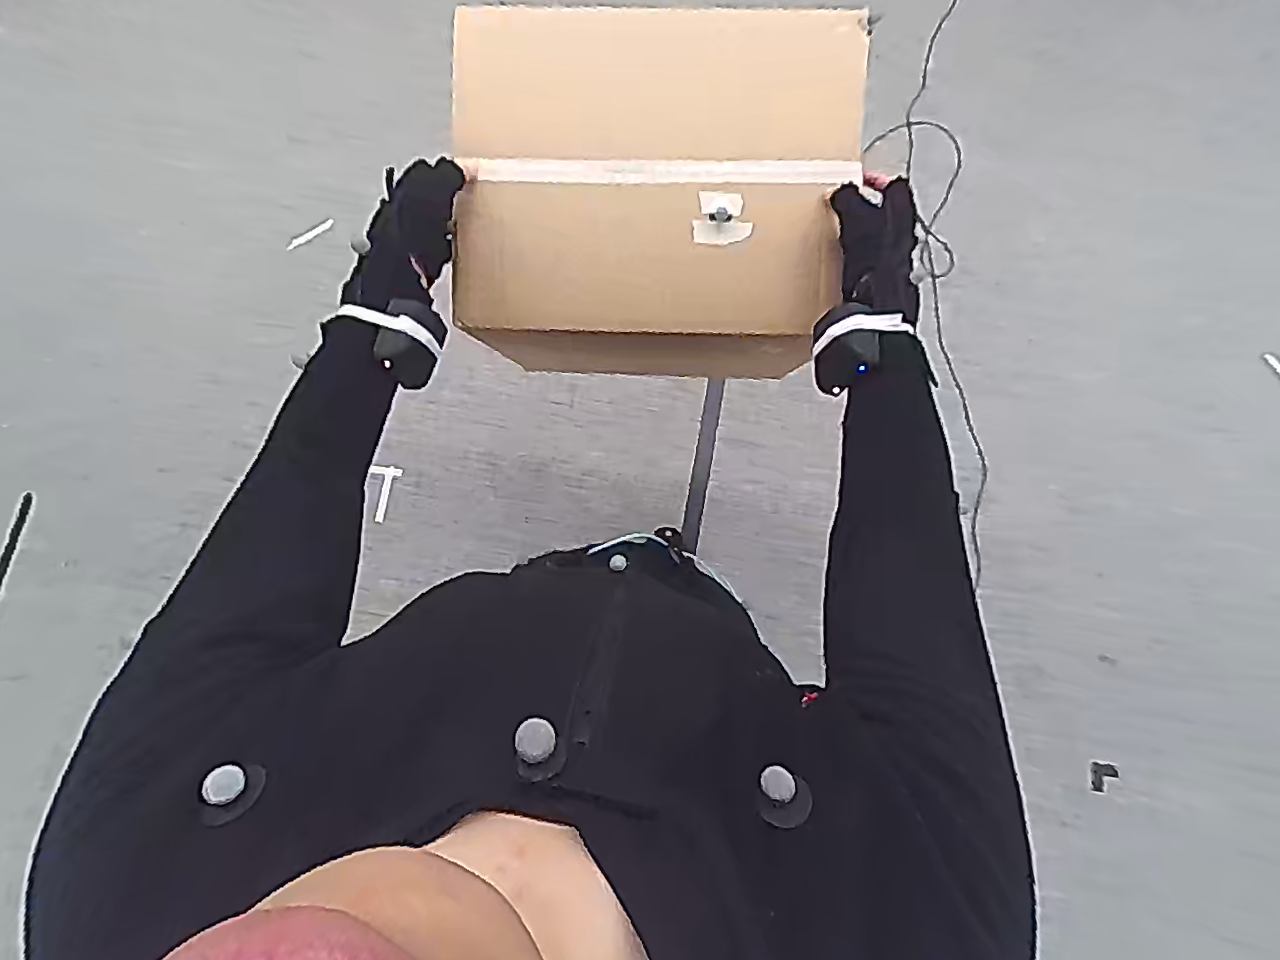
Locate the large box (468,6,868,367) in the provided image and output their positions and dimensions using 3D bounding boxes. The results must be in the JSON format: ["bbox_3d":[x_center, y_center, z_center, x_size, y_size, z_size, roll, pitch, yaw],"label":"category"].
[{"bbox_3d":[0.025,-0.325,0.693,0.408,0.320,0.320,2,94,1],"label":"large box"}]
